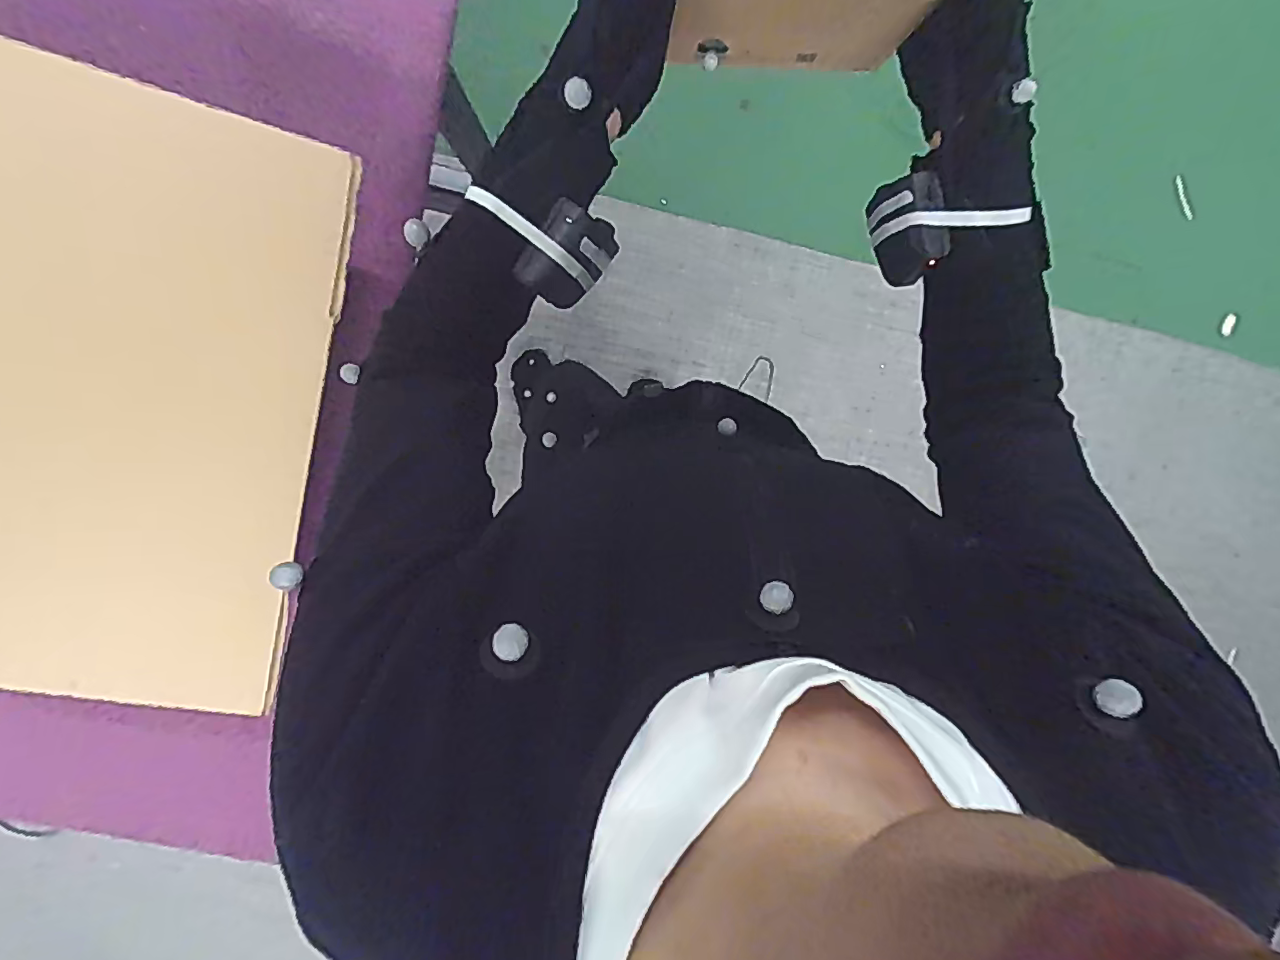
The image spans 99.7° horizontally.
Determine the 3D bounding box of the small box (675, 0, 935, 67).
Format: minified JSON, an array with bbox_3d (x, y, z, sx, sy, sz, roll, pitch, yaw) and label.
[{"bbox_3d":[0.111,-0.379,0.317,0.168,0.176,0.179,3,106,-1],"label":"small box"}]
